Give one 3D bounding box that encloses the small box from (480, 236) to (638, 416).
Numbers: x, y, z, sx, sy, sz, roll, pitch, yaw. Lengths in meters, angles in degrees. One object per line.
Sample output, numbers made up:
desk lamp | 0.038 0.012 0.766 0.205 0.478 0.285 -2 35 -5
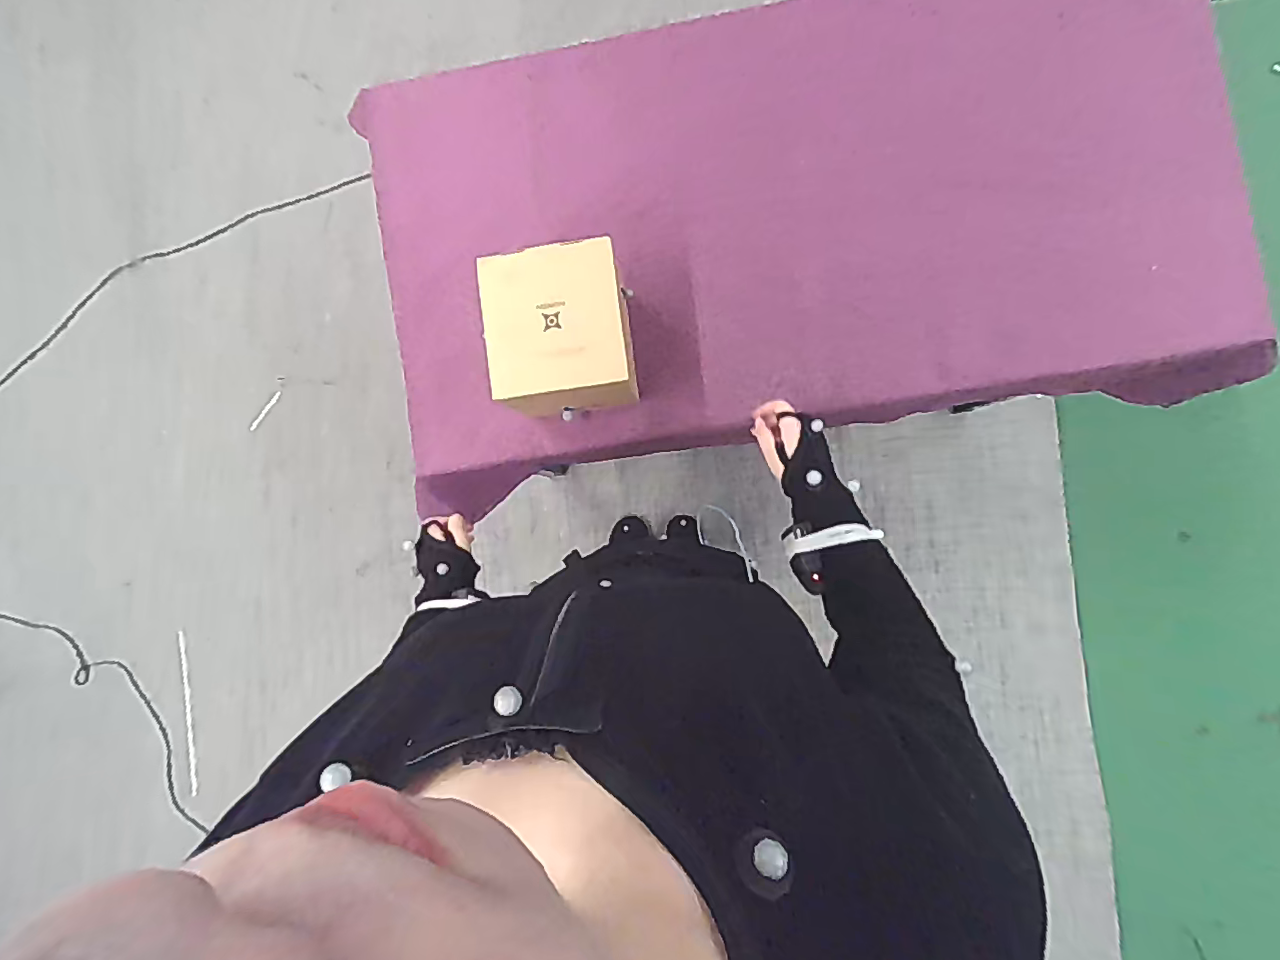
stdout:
small box | -0.097 -0.191 0.719 0.168 0.176 0.179 -7 89 5
